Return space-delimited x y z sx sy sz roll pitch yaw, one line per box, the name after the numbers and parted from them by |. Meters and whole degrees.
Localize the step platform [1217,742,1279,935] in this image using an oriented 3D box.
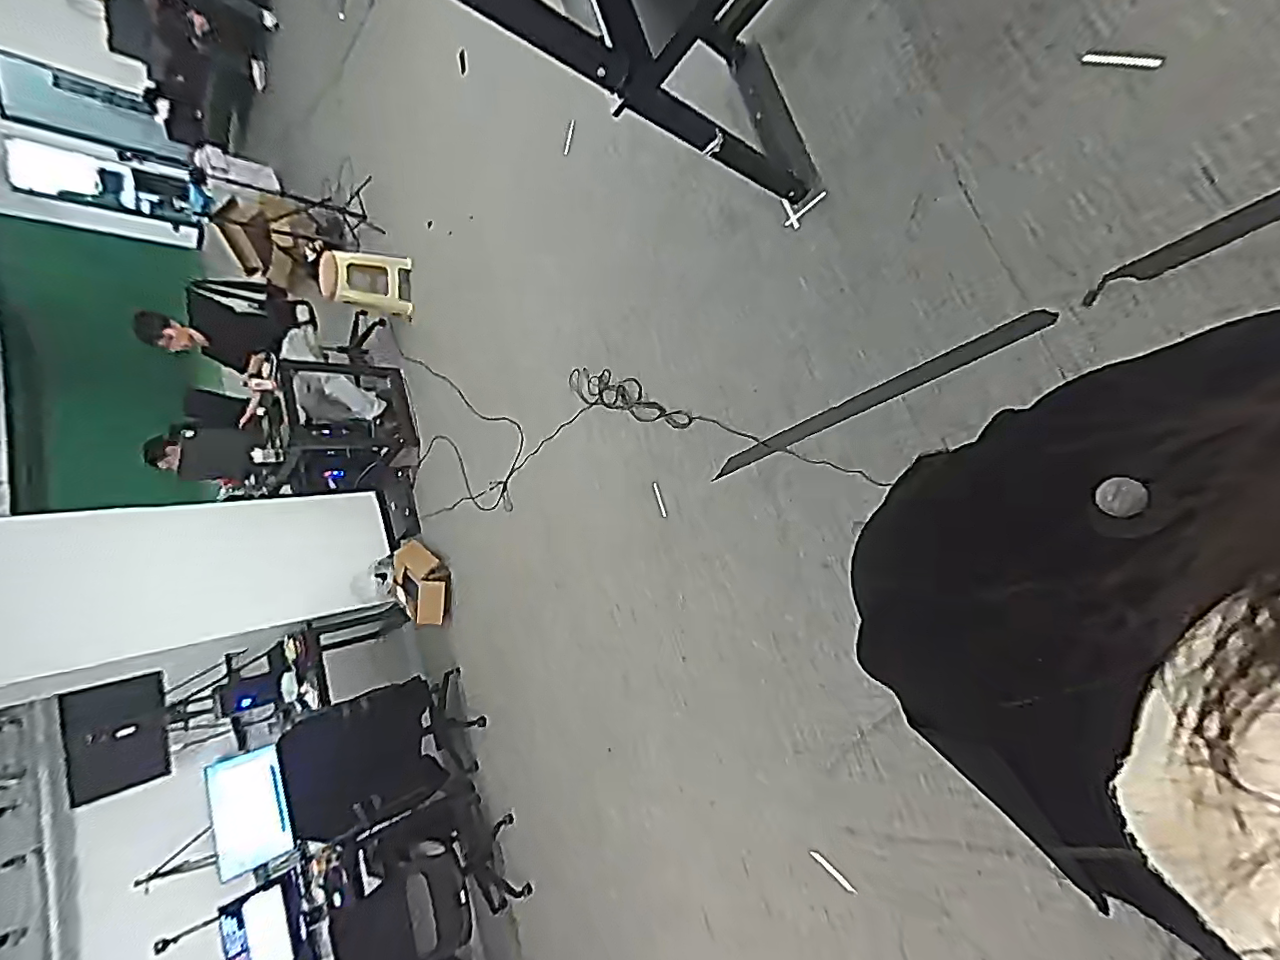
1.317 0.571 0.754 0.684 0.204 0.286 -21 79 43 | step platform
